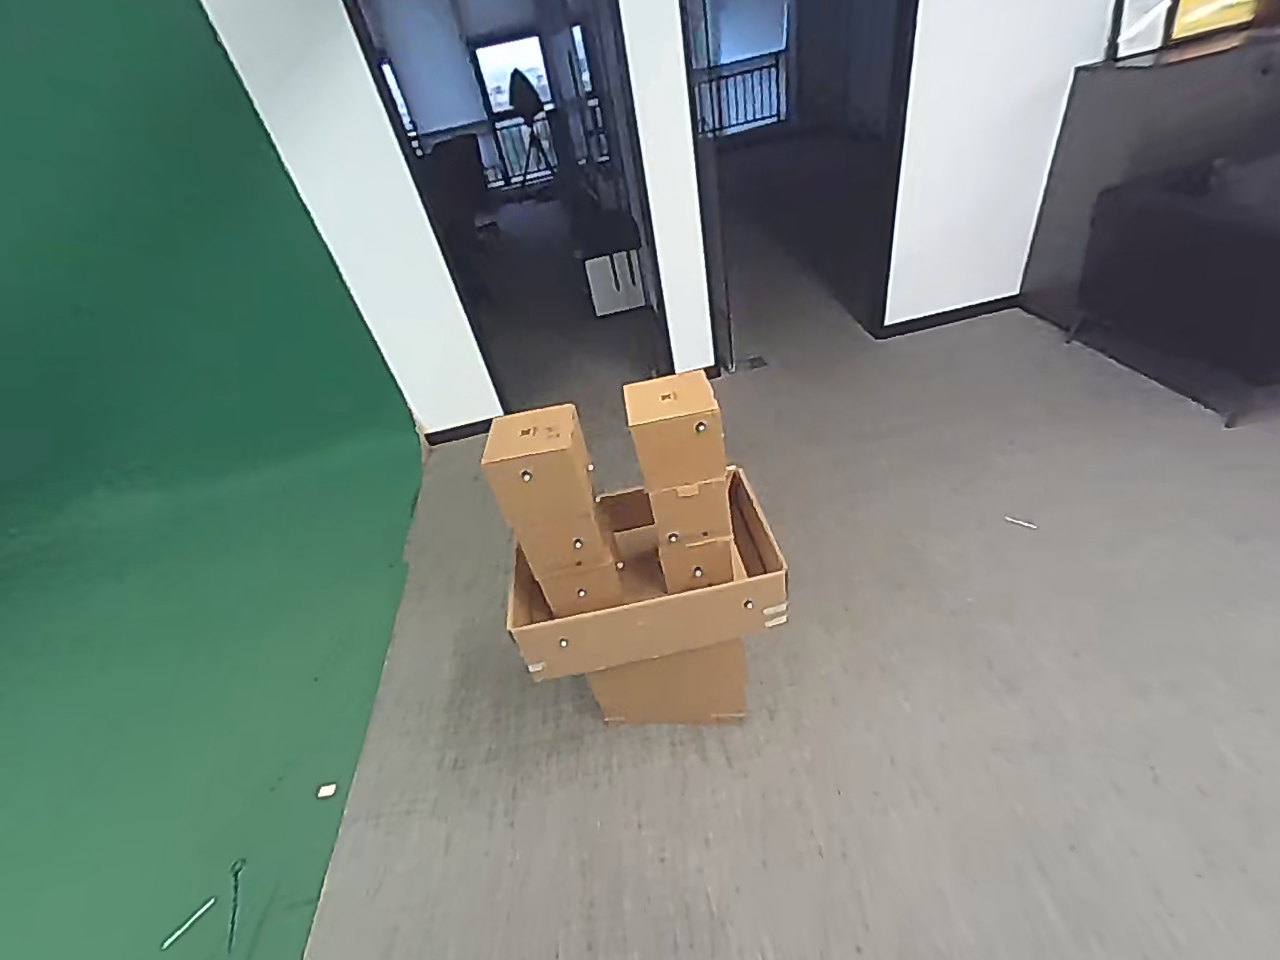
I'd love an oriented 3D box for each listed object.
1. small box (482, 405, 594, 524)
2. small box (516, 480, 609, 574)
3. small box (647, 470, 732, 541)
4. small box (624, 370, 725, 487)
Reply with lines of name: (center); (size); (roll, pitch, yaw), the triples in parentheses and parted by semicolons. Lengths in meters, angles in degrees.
small box: (-0.201, -0.028, 1.115); (0.179, 0.176, 0.168); (-10, 39, 4)
small box: (-0.170, 0.093, 1.222); (0.168, 0.176, 0.179); (-12, 38, 1)
small box: (0.107, 0.021, 1.226); (0.168, 0.176, 0.179); (-11, 37, 4)
small box: (0.071, -0.104, 1.127); (0.179, 0.176, 0.168); (-11, 38, 2)
